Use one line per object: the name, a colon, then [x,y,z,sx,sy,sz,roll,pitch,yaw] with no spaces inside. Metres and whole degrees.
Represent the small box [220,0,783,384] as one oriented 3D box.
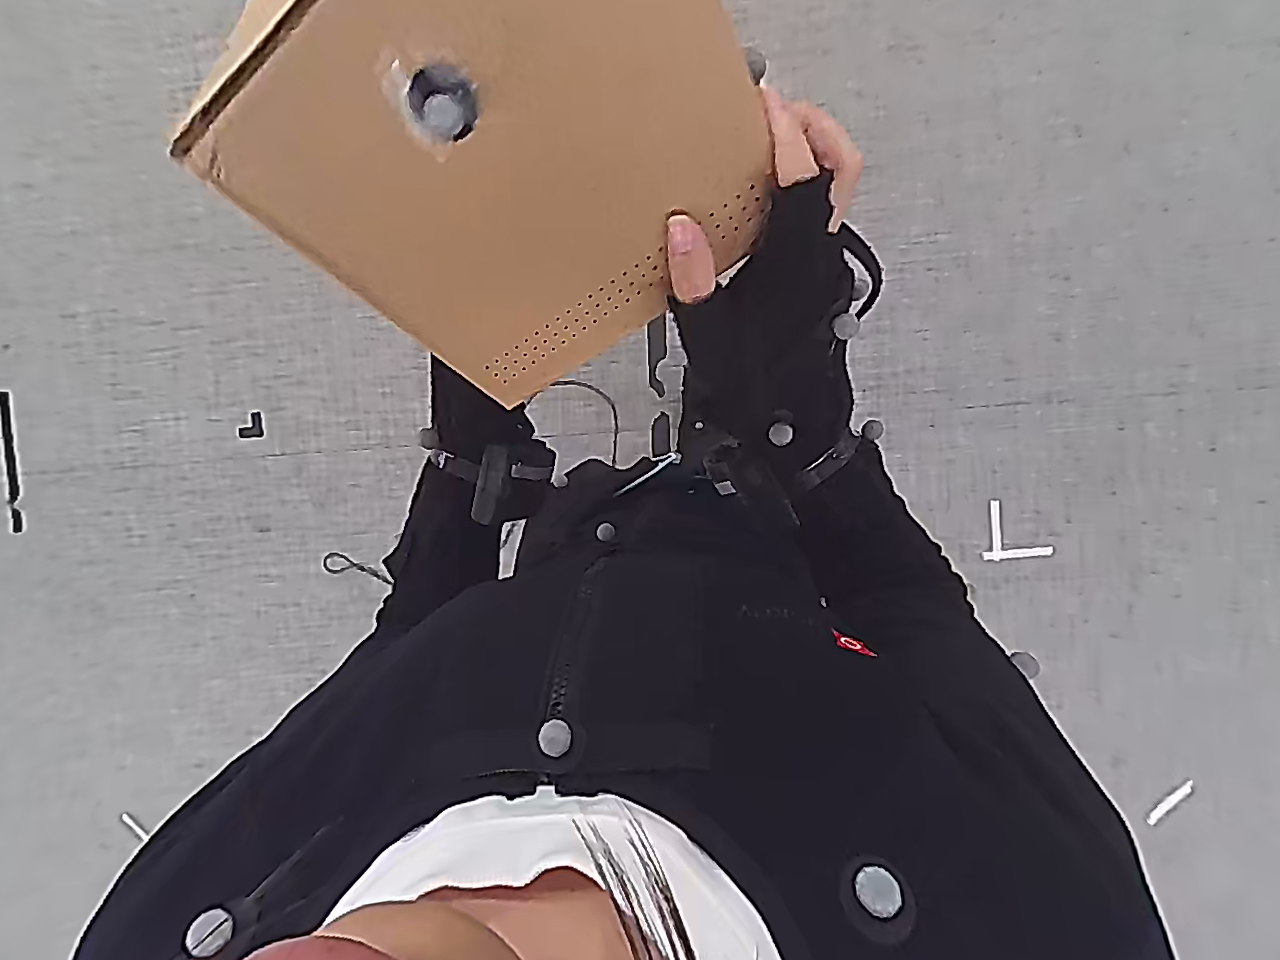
small box: [-0.055,-0.180,0.272,0.179,0.176,0.168,-27,55,20]
